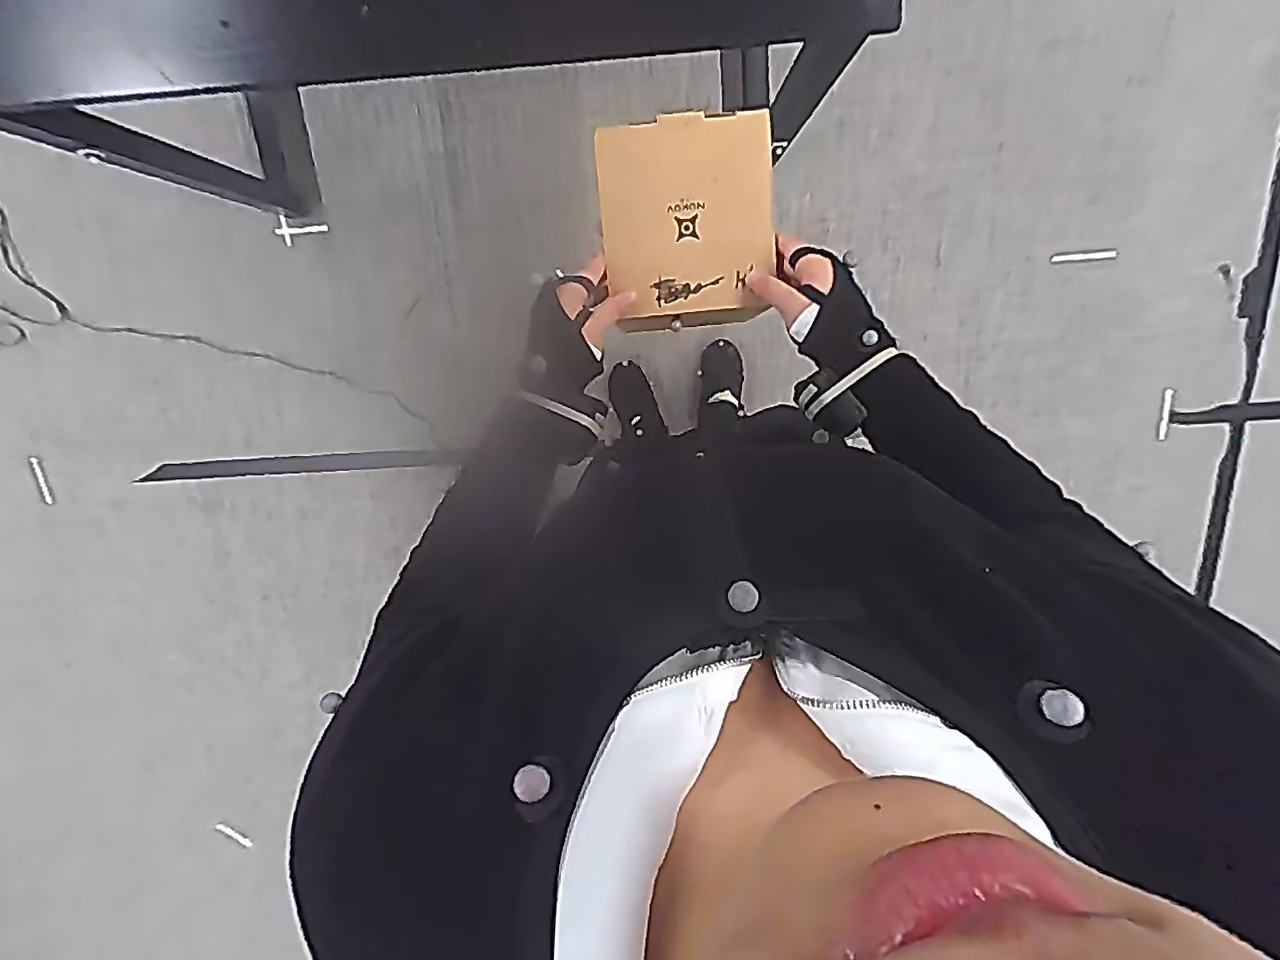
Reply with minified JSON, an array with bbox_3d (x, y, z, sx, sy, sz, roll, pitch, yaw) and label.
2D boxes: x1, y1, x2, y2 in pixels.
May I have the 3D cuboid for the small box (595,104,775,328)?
[{"bbox_3d":[0.046,-0.269,0.592,0.168,0.176,0.179,-5,101,3],"label":"small box"}]
